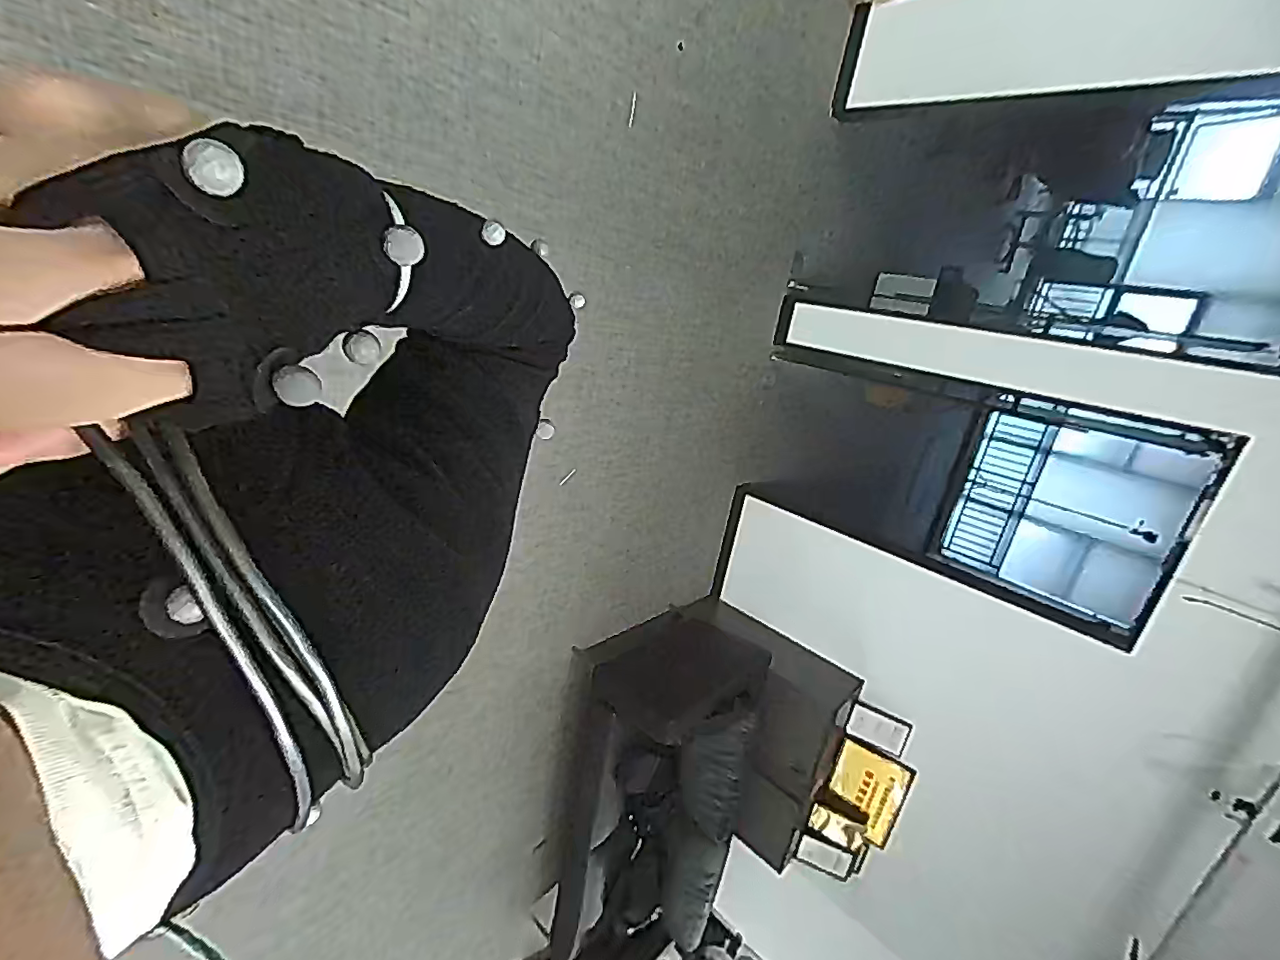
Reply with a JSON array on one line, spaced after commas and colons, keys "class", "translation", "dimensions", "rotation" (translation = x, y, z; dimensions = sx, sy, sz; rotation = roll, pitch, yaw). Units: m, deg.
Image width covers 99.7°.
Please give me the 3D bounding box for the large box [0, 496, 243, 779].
[{"class": "large box", "translation": [-1.042, 0.276, 1.088], "dimensions": [0.320, 0.320, 0.408], "rotation": [-2, 112, -50]}]
